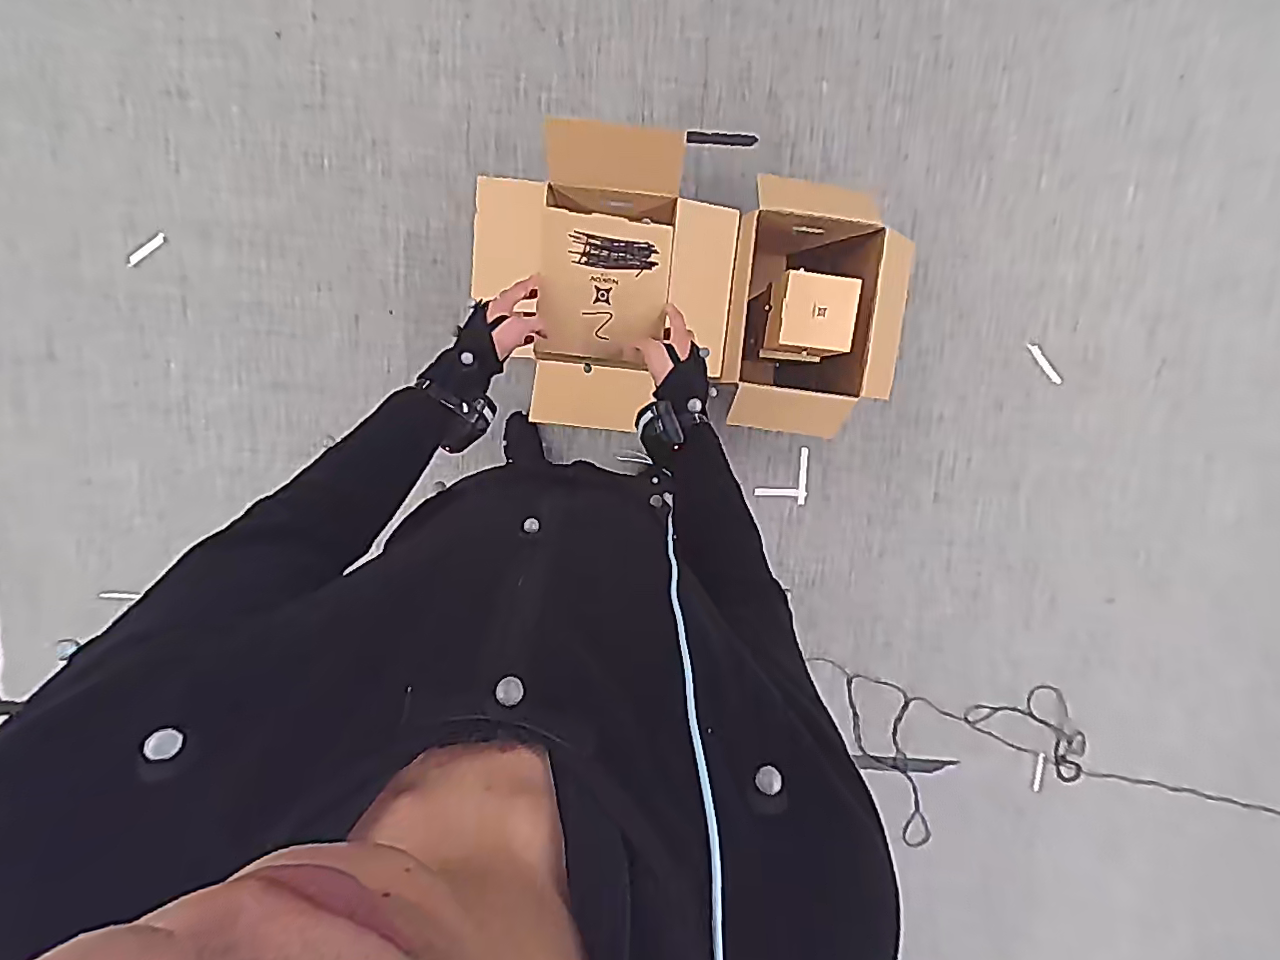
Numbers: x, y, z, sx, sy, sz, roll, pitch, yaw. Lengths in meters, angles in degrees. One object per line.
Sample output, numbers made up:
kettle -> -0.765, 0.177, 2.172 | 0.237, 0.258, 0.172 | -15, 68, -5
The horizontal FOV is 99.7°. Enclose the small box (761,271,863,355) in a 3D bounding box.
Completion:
small box -> 0.412, -0.399, 1.321 | 0.179, 0.176, 0.168 | 6, 100, -3
